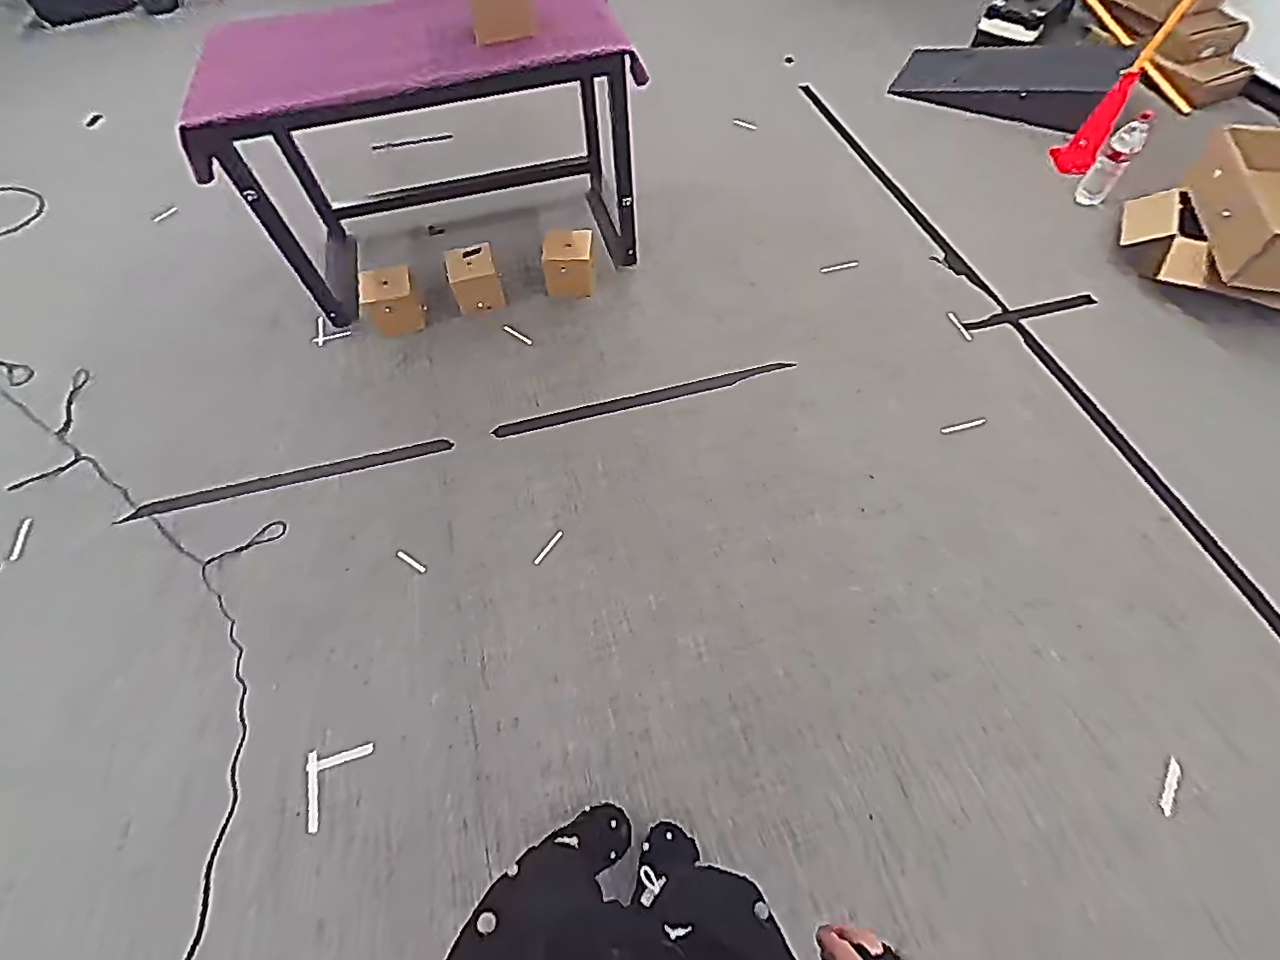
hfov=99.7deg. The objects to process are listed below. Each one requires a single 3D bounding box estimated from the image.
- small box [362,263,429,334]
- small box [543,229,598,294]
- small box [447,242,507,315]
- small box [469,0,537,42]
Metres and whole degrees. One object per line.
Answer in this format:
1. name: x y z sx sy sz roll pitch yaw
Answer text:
1. small box: -0.895 -0.660 1.982 0.179 0.176 0.168 -13 62 -6
2. small box: -0.256 -0.823 2.045 0.179 0.176 0.168 0 61 4
3. small box: -0.605 -0.749 2.017 0.168 0.176 0.179 -15 62 -6
4. small box: -0.396 -1.381 1.526 0.179 0.176 0.168 -13 60 -4
